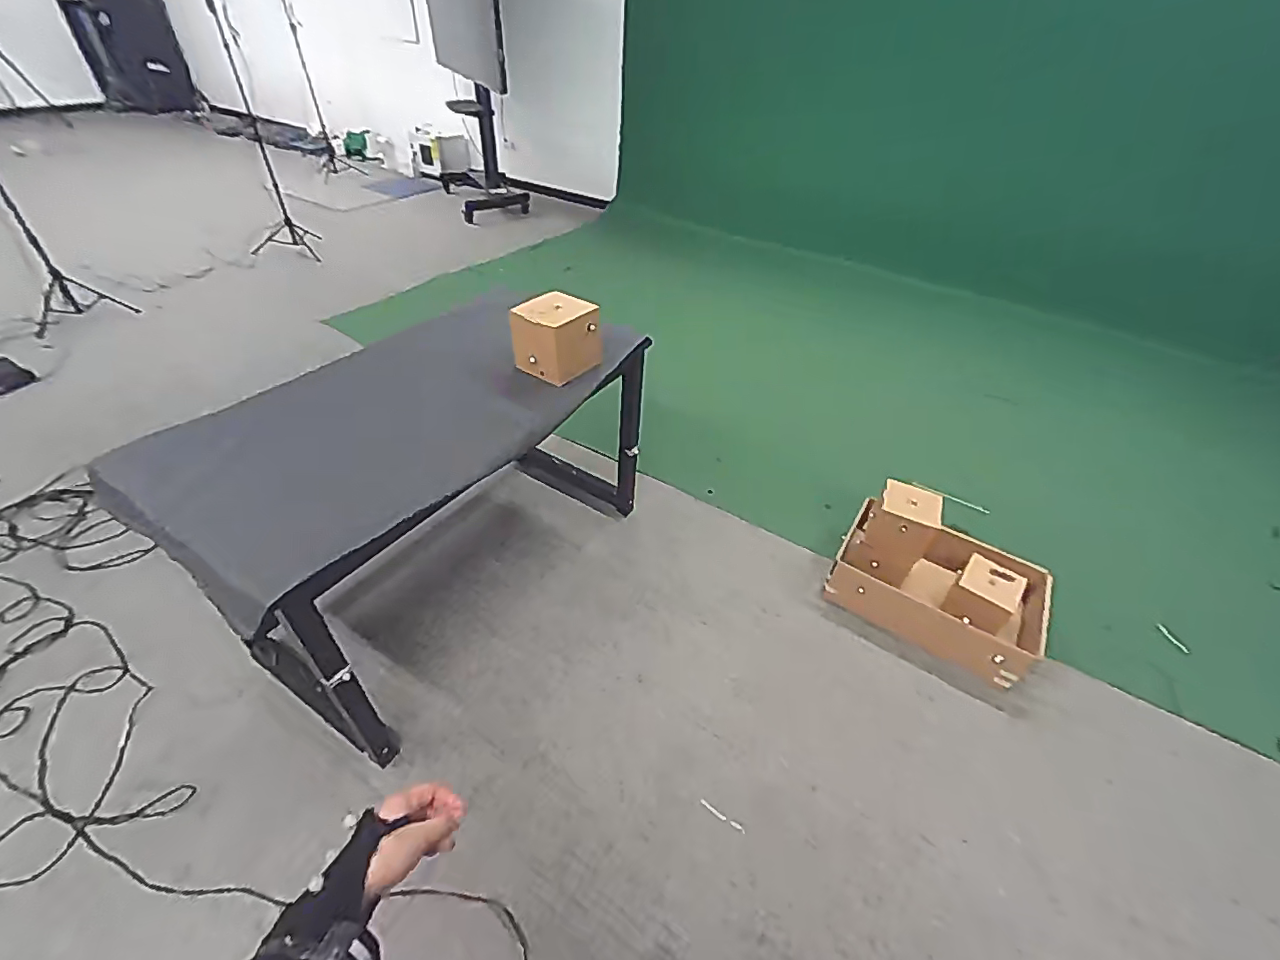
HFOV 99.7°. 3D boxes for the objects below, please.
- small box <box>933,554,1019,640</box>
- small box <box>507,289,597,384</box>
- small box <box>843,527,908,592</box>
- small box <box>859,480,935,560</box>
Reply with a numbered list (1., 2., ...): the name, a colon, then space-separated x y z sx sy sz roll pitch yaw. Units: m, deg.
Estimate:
1. small box: 1.089 0.383 1.764 0.168 0.176 0.179 31 49 27
2. small box: -0.231 -0.385 1.449 0.168 0.176 0.179 27 47 26
3. small box: 0.829 0.256 1.877 0.179 0.176 0.168 27 47 23
4. small box: 0.837 0.133 1.768 0.179 0.176 0.168 21 46 14
